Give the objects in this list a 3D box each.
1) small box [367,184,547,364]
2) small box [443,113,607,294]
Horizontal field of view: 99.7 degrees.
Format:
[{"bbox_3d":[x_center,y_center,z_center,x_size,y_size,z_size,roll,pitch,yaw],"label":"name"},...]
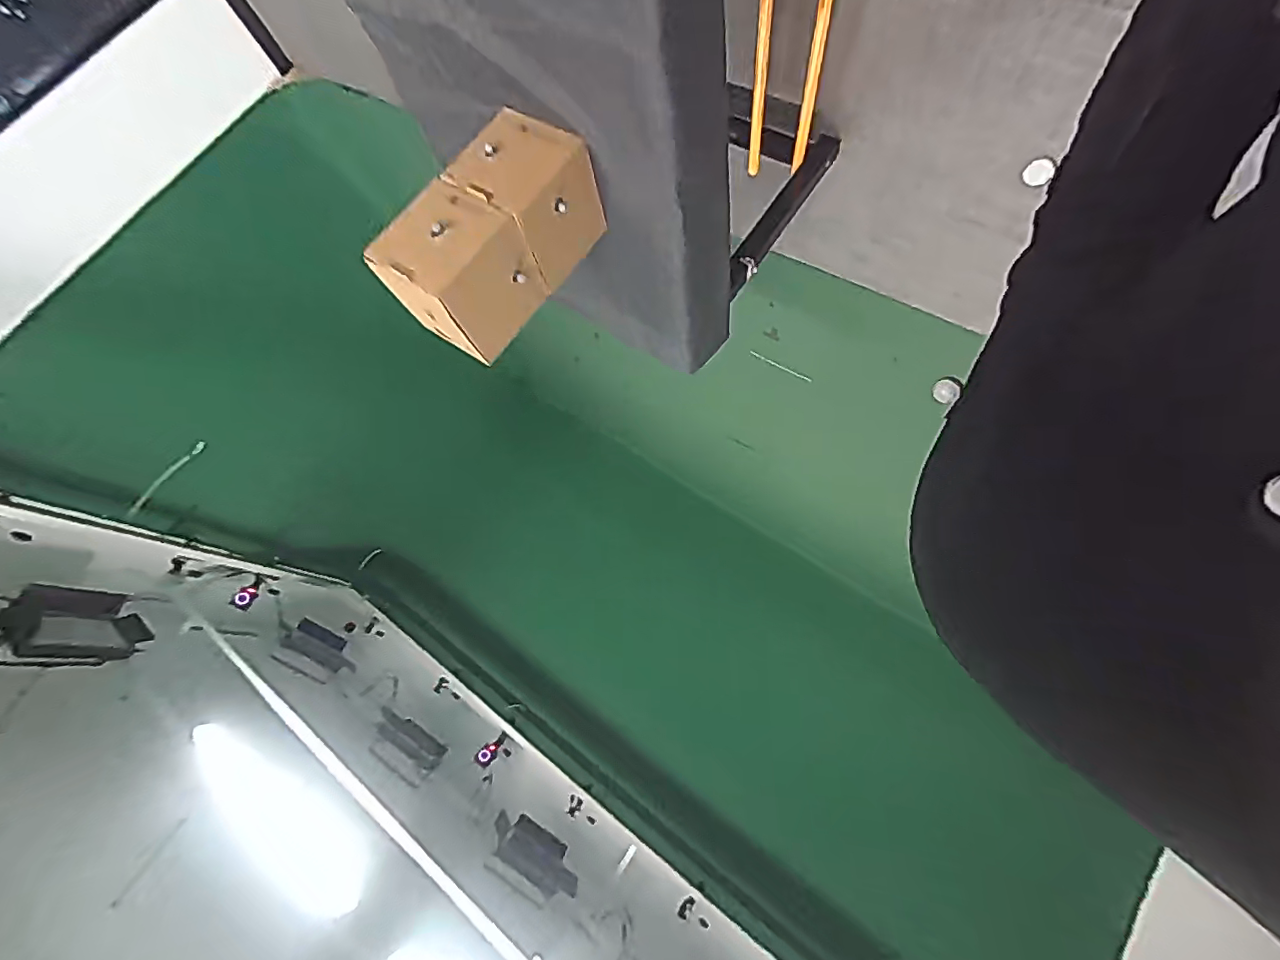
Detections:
[{"bbox_3d":[-0.277,-0.326,0.857,0.168,0.176,0.179,32,167,19],"label":"small box"},{"bbox_3d":[-0.177,-0.452,0.887,0.168,0.176,0.179,33,168,18],"label":"small box"}]
